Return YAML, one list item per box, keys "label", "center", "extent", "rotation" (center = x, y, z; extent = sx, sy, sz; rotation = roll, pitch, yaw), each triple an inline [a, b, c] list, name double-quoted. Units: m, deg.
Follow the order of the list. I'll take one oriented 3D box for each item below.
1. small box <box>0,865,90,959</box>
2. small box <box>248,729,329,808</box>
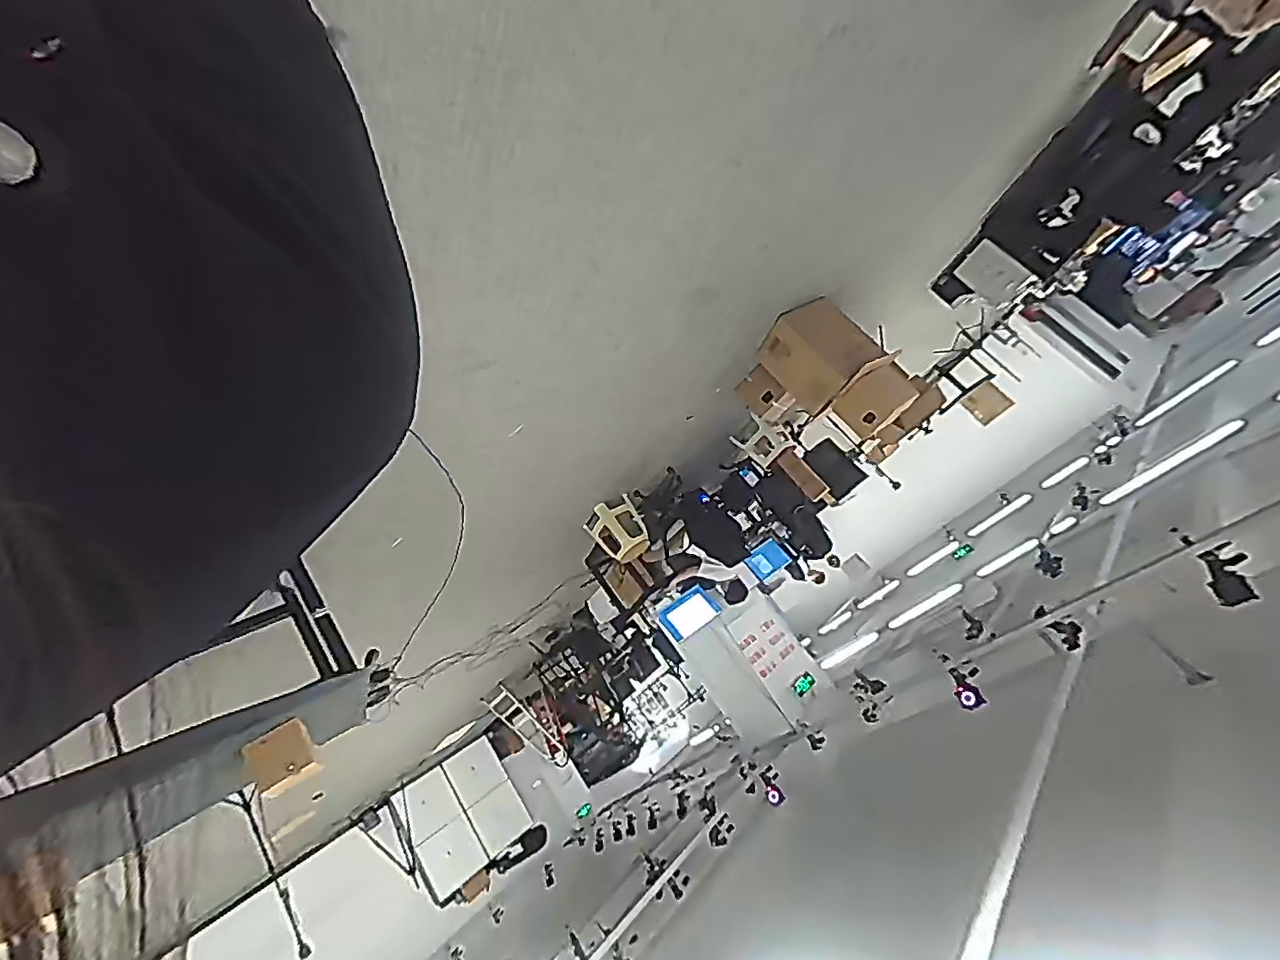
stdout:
- label: "small box"
  center: [-1.624, 1.169, 1.439]
  extent: [0.168, 0.176, 0.179]
  rotation: [-25, 156, -41]
- label: "small box"
  center: [-1.179, 0.969, 1.819]
  extent: [0.168, 0.176, 0.179]
  rotation: [-28, 161, -33]
